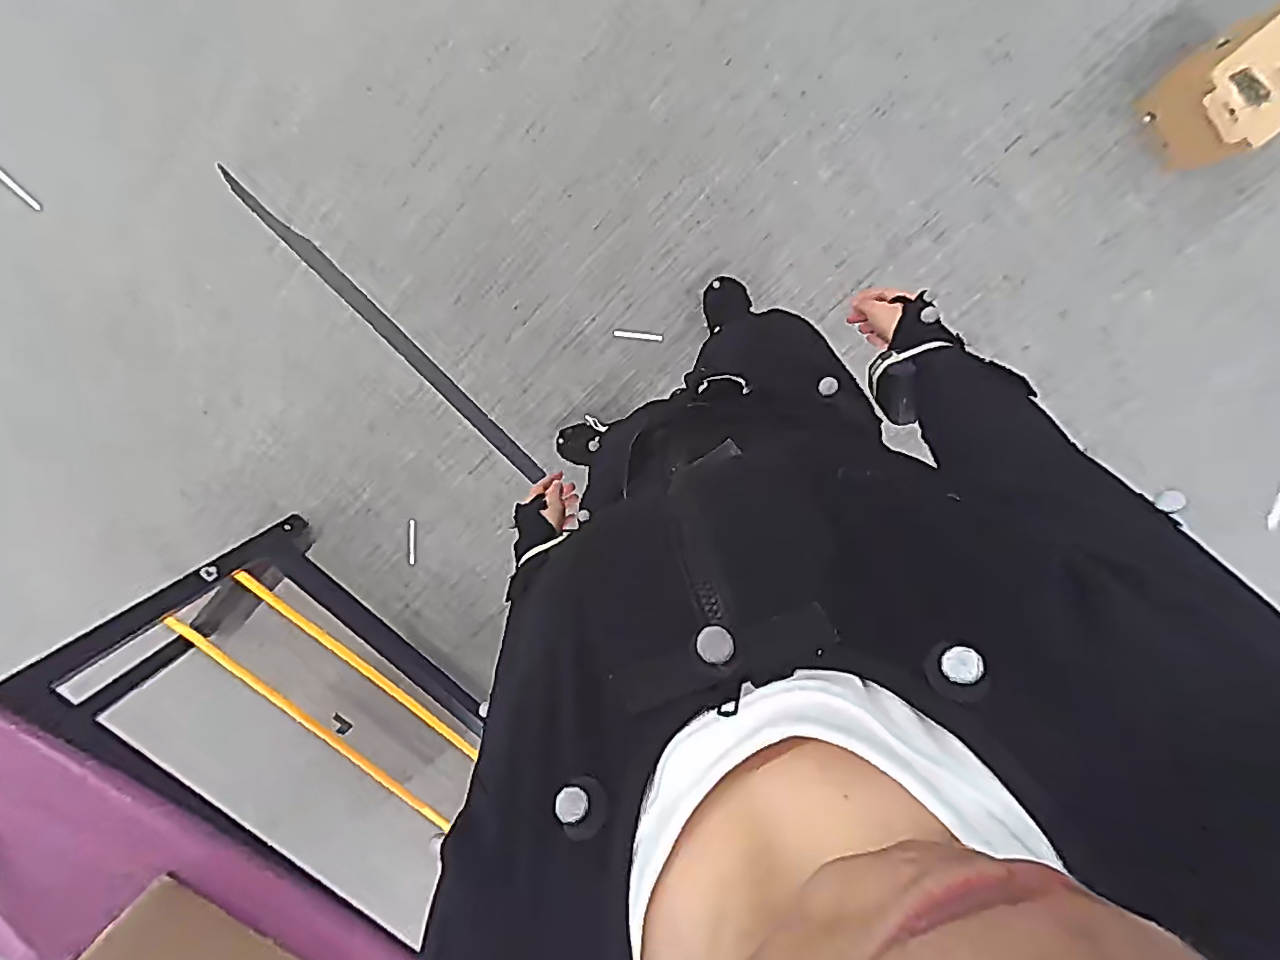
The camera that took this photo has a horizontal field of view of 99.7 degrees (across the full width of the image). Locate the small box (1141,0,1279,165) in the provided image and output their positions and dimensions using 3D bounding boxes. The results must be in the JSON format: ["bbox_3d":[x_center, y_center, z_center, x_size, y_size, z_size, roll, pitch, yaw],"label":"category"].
[{"bbox_3d":[1.078,-0.713,0.982,0.179,0.176,0.168,-42,101,16],"label":"small box"}]
